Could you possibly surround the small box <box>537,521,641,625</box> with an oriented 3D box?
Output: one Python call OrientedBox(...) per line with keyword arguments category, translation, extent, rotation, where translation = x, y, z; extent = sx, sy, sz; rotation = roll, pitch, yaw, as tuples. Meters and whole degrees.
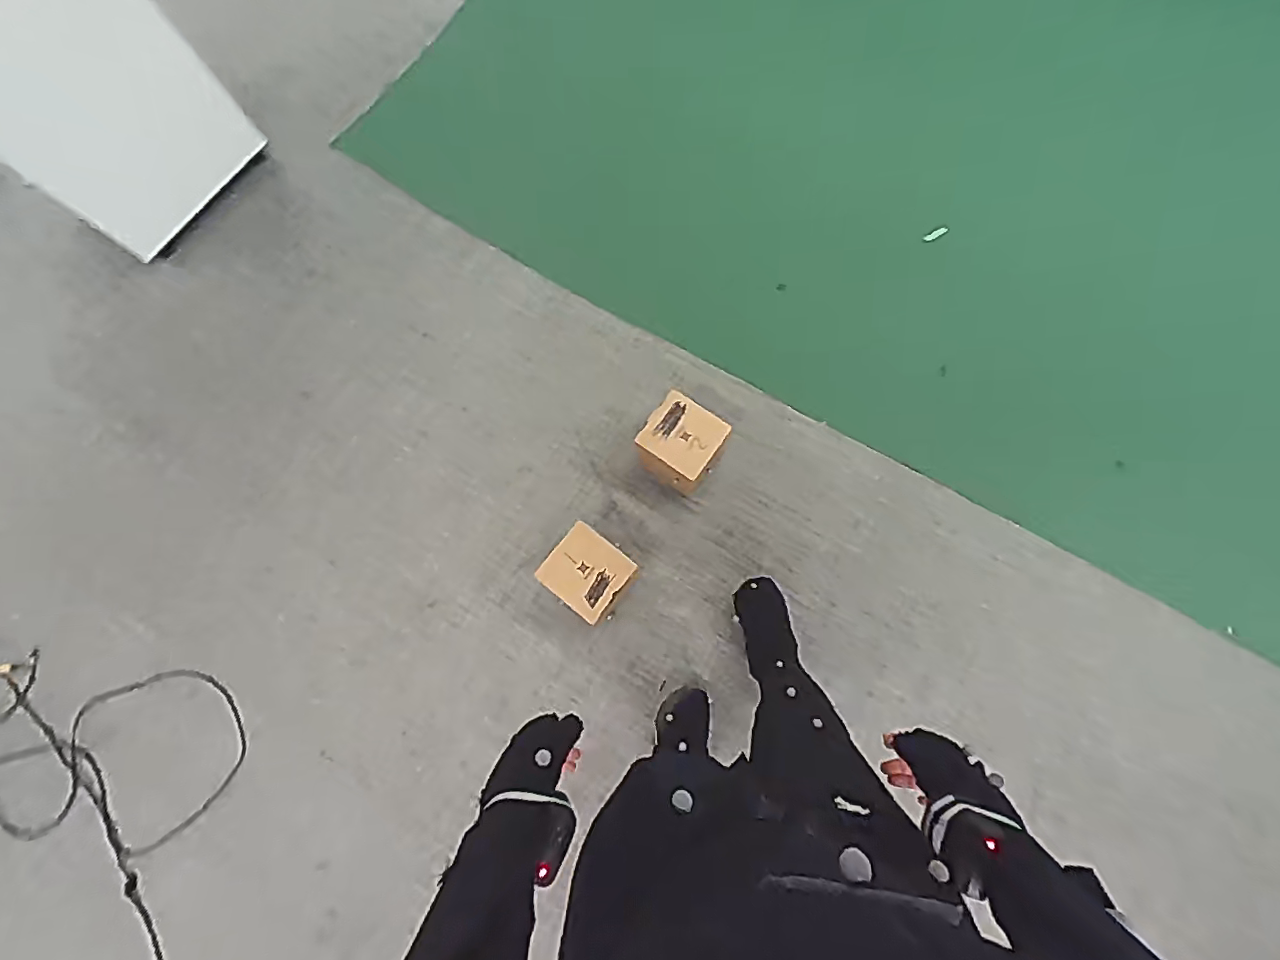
OrientedBox(category="small box", translation=(-0.111, 0.222, 1.273), extent=(0.179, 0.176, 0.168), rotation=(37, 79, 11))
